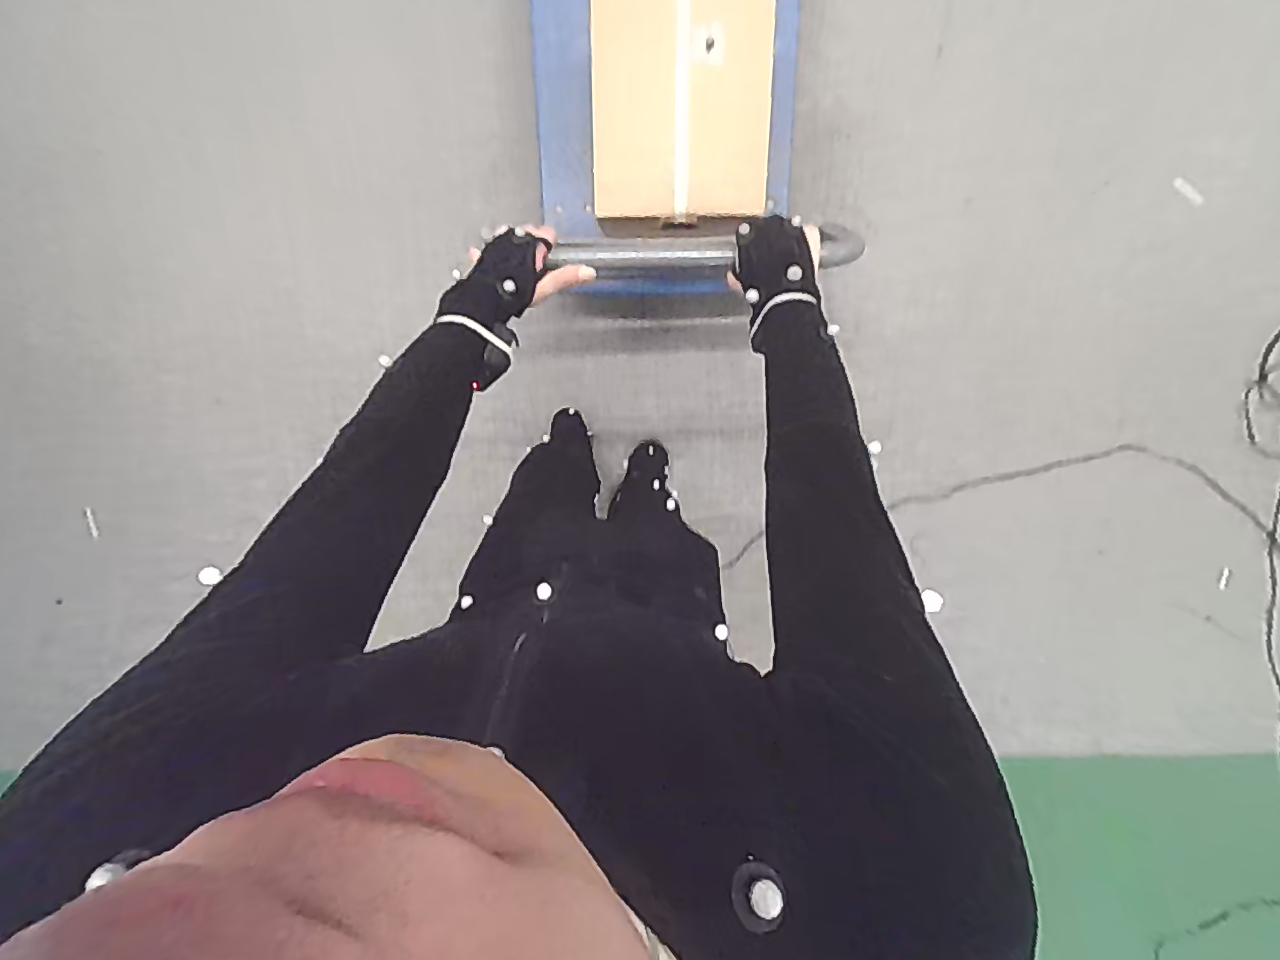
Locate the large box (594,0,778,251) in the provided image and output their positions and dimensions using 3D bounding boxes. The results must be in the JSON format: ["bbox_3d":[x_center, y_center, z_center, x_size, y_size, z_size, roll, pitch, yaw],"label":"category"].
[{"bbox_3d":[0.086,-0.700,1.079,0.320,0.320,0.408,0,103,2],"label":"large box"}]
